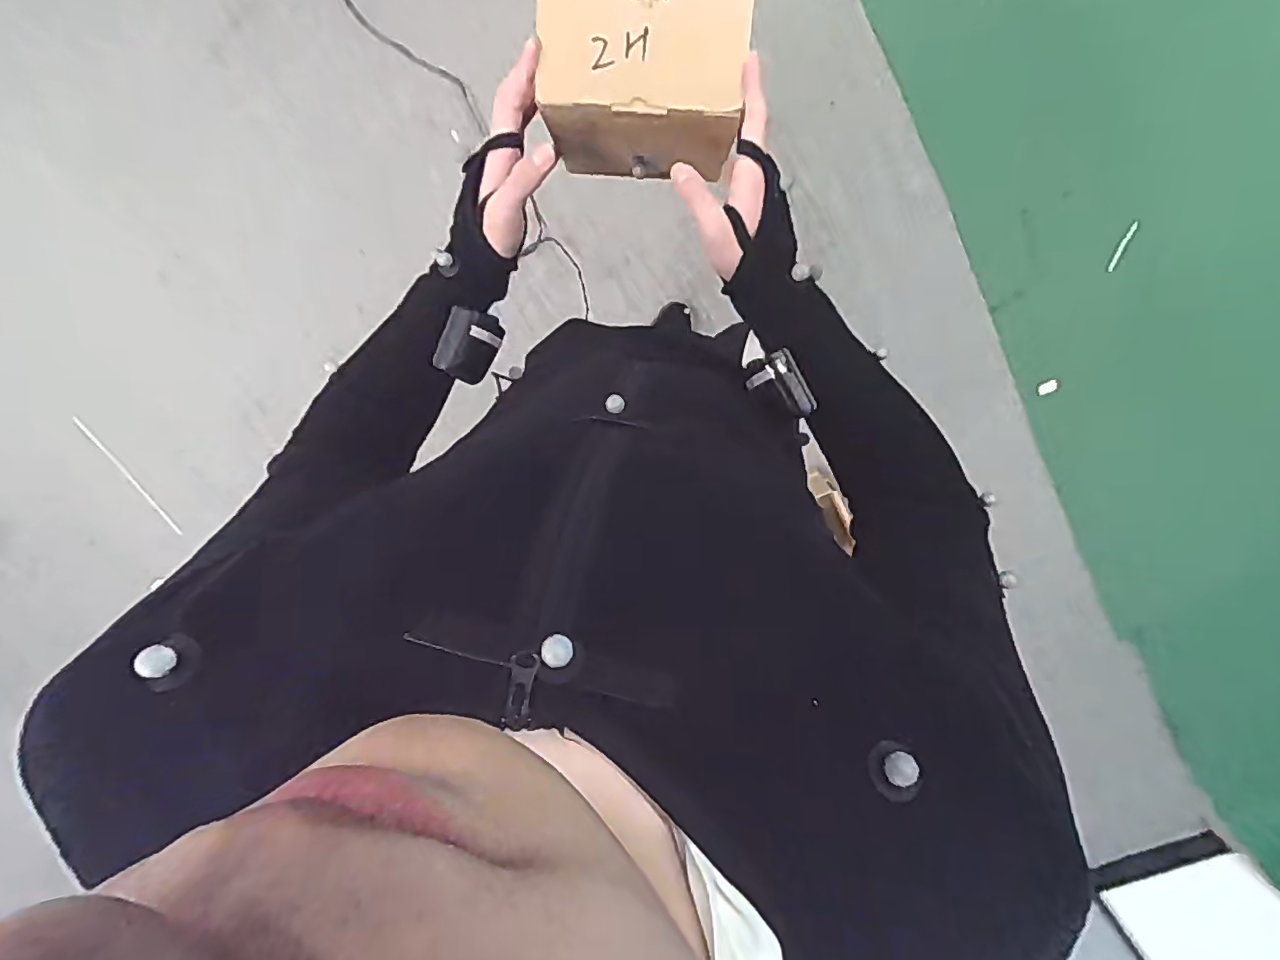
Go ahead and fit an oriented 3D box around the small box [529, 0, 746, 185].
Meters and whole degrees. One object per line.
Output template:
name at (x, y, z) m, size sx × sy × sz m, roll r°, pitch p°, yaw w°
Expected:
small box at (0.001, -0.390, 0.486) m, size 0.168 × 0.176 × 0.179 m, roll 3°, pitch 103°, yaw 2°
